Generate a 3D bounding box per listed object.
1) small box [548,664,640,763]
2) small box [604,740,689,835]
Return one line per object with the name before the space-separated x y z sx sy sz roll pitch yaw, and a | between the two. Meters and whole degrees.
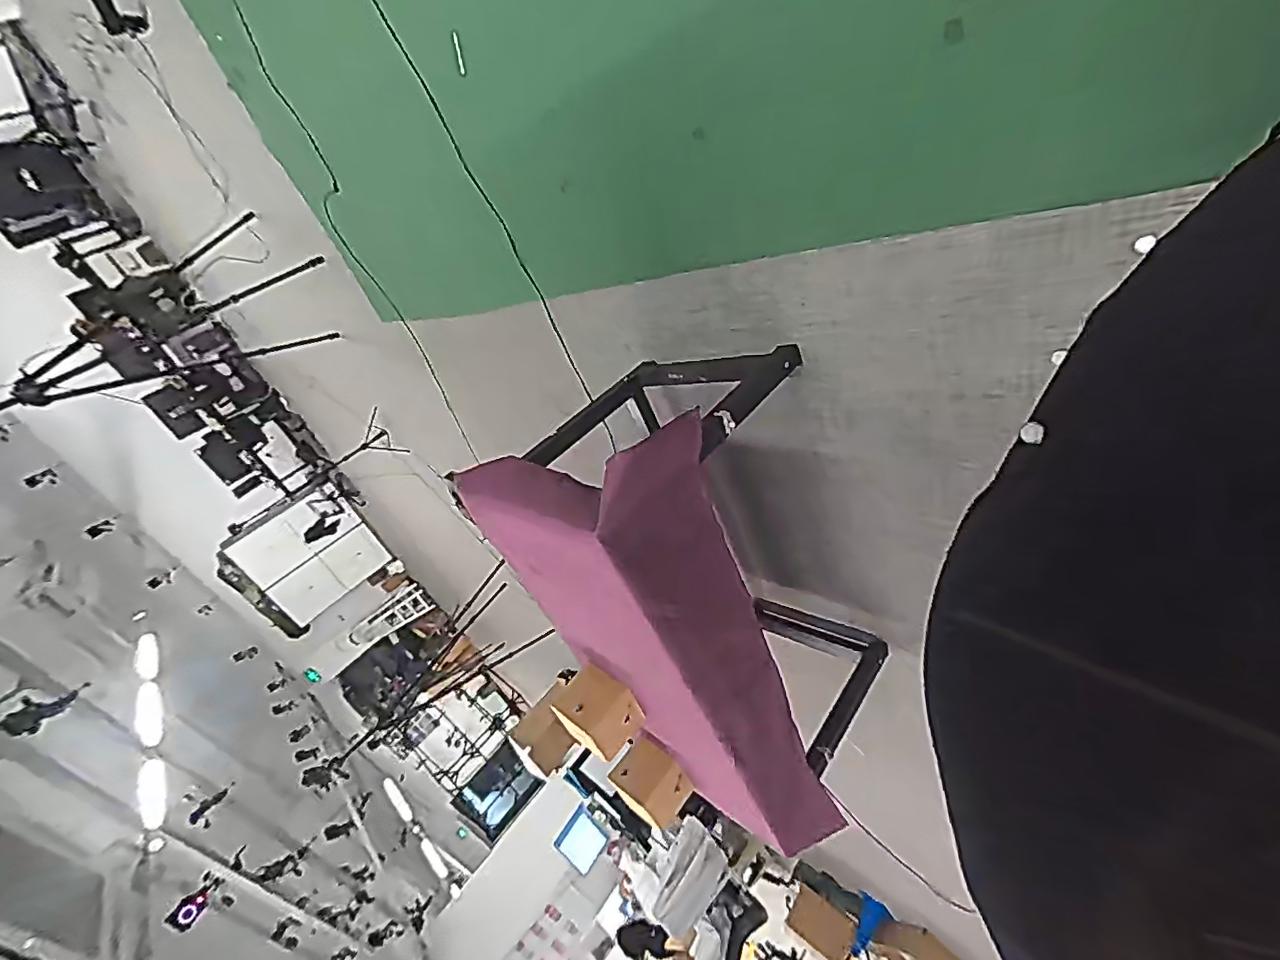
small box | -0.129 0.665 1.564 0.179 0.176 0.168 15 138 42
small box | 0.023 0.964 1.716 0.179 0.176 0.168 9 133 48
